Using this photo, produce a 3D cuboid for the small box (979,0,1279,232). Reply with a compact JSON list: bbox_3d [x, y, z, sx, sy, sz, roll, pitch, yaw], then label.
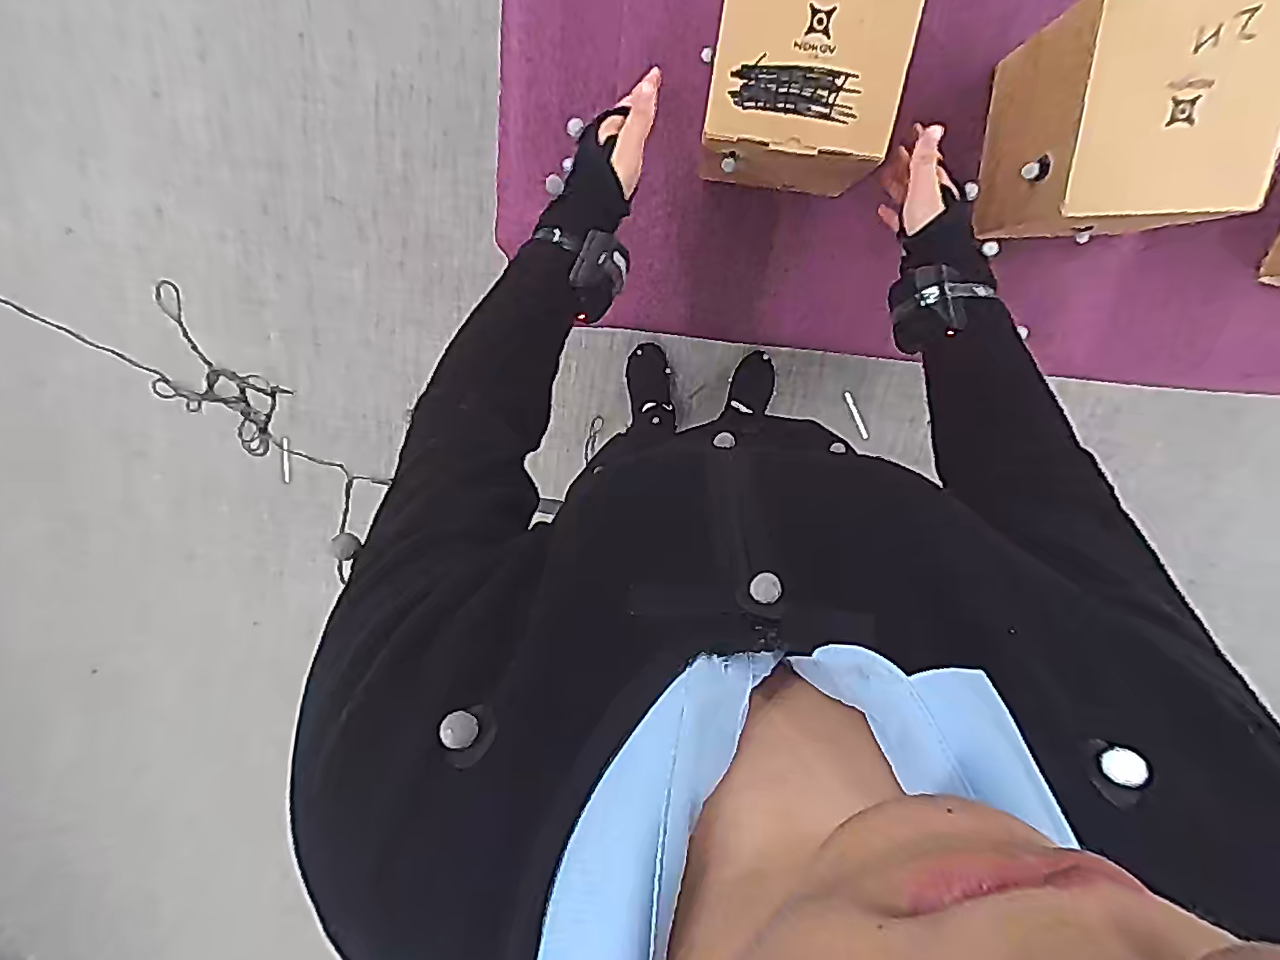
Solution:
[{"bbox_3d":[0.462,-0.343,0.525,0.168,0.176,0.179,0,107,5],"label":"small box"}]
